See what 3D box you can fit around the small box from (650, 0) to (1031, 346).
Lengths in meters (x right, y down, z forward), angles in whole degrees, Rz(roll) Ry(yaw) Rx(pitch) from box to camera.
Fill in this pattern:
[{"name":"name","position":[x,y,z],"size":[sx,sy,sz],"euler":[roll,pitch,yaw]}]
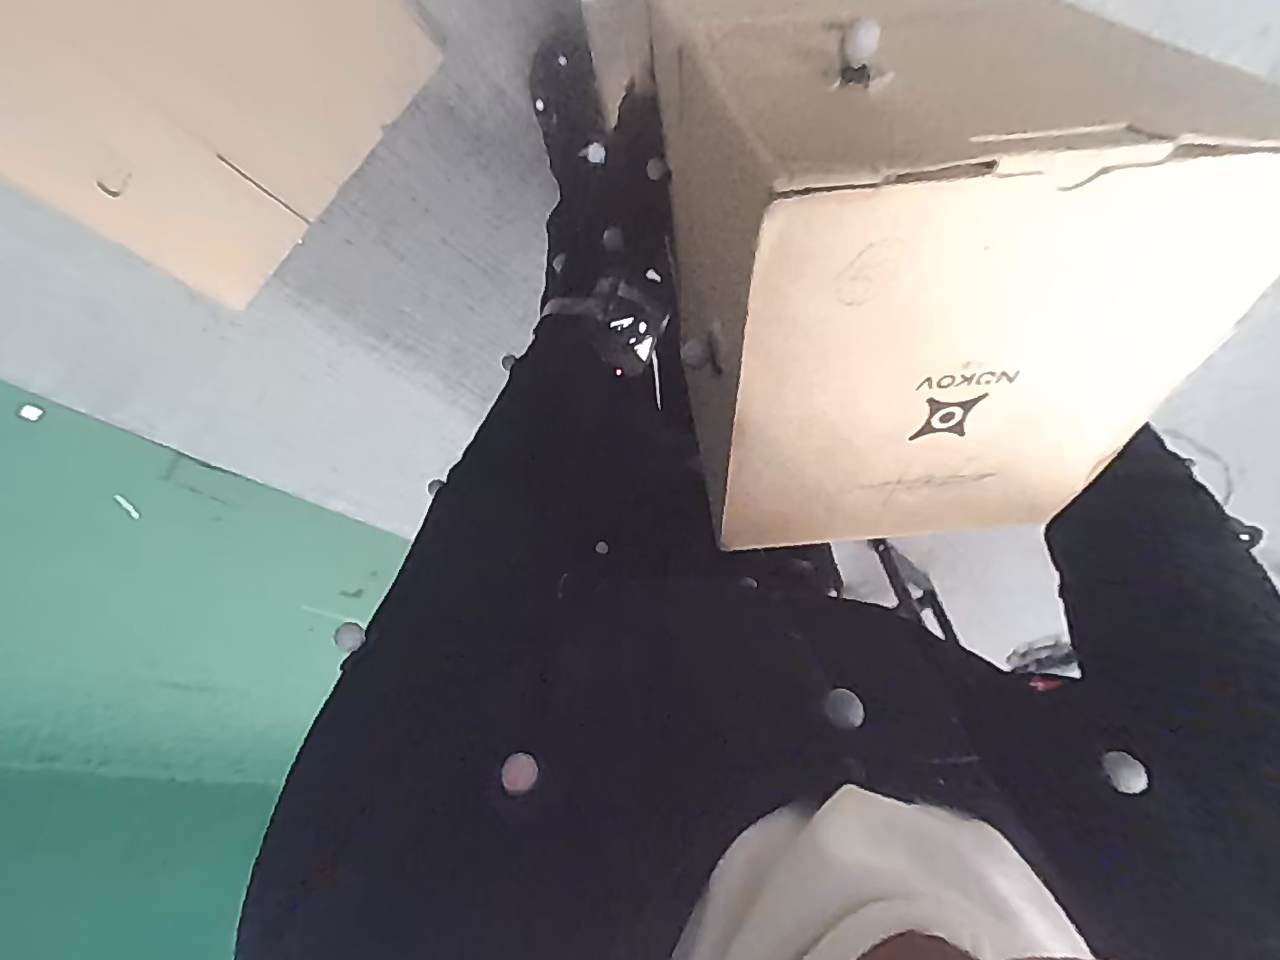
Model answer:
[{"name":"small box","position":[0.099,-0.213,0.357],"size":[0.168,0.176,0.179],"euler":[-7,140,3]}]

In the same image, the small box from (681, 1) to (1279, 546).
[{"name":"small box","position":[0.109,-0.091,0.251],"size":[0.168,0.176,0.179],"euler":[-5,141,2]}]
